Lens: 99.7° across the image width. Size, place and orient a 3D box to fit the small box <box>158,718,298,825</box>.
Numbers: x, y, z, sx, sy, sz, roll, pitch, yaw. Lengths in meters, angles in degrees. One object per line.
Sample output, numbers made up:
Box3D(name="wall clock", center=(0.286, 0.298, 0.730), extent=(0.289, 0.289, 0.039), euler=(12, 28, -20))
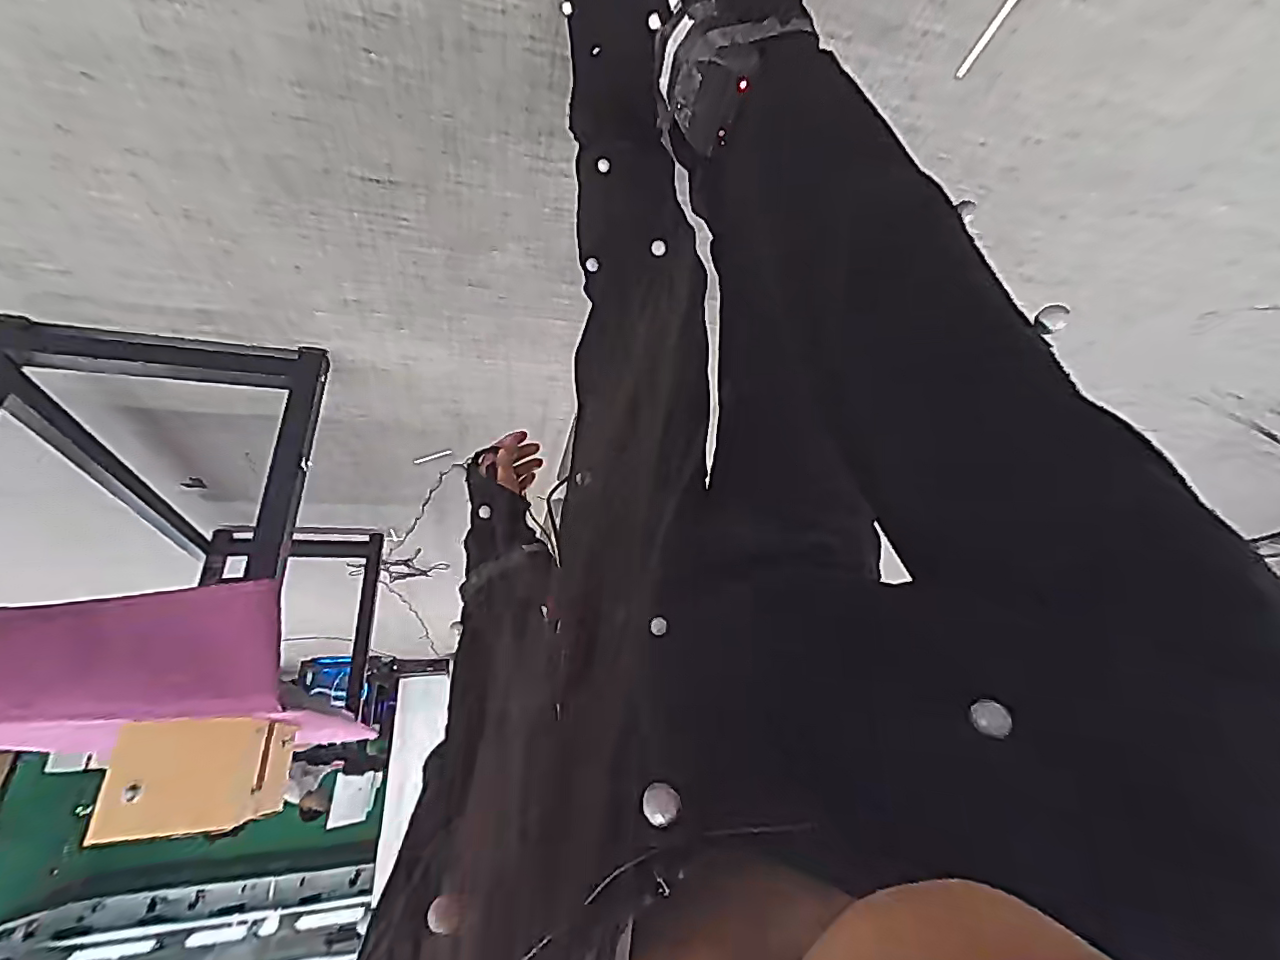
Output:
Box3D(name="small box", center=(-0.818, 0.582, 1.094), extent=(0.168, 0.176, 0.179), euler=(3, 153, -17))
